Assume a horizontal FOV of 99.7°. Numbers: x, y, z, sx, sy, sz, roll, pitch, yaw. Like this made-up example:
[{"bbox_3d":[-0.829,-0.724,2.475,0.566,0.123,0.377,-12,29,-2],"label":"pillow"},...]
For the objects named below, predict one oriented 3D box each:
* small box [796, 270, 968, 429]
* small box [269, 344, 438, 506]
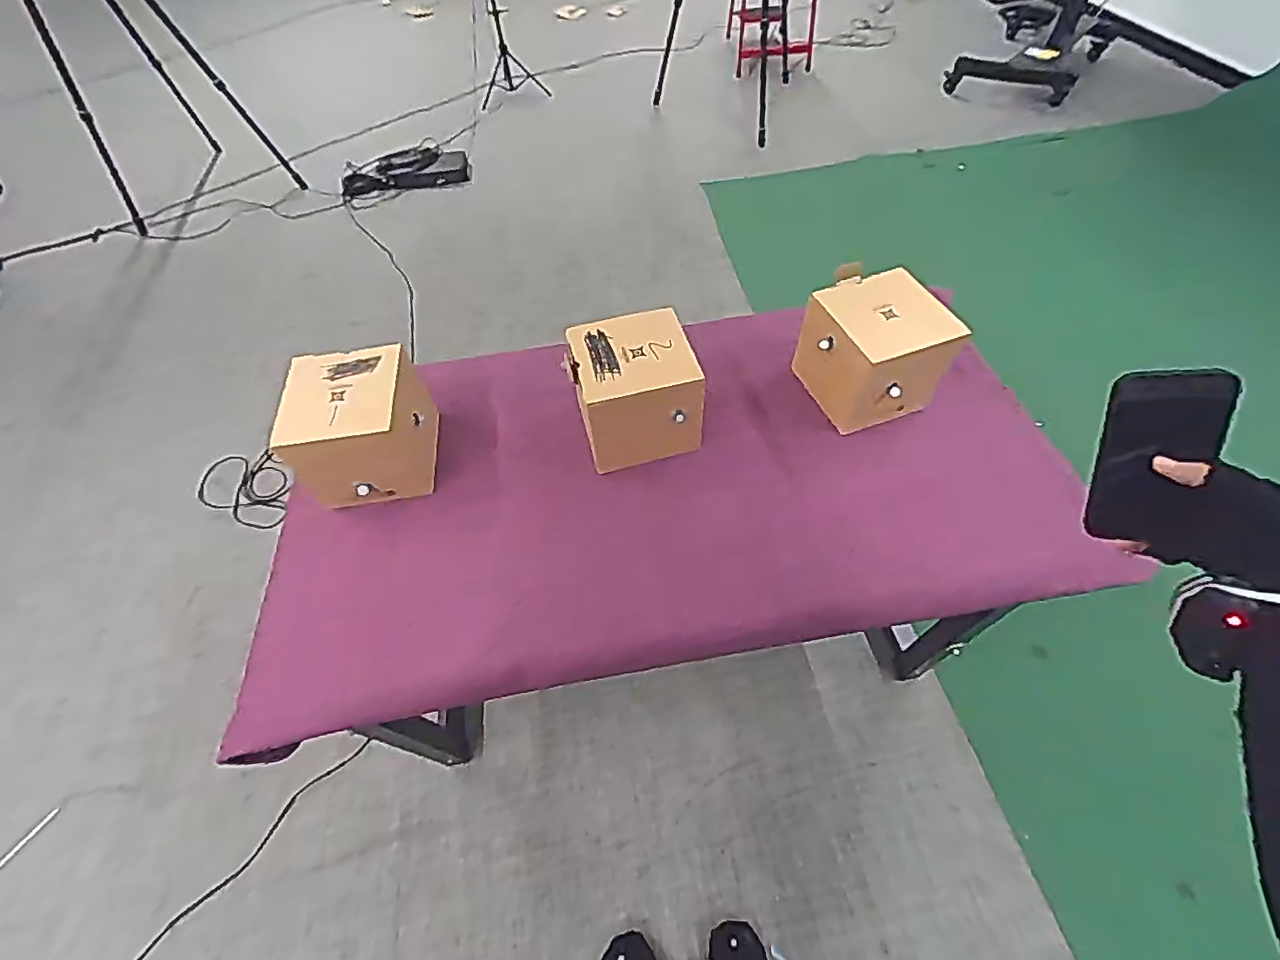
[{"bbox_3d":[0.378,-0.203,0.880,0.168,0.176,0.179,-18,56,-8],"label":"small box"},{"bbox_3d":[-0.427,-0.082,0.841,0.168,0.176,0.179,-8,58,-2],"label":"small box"}]
